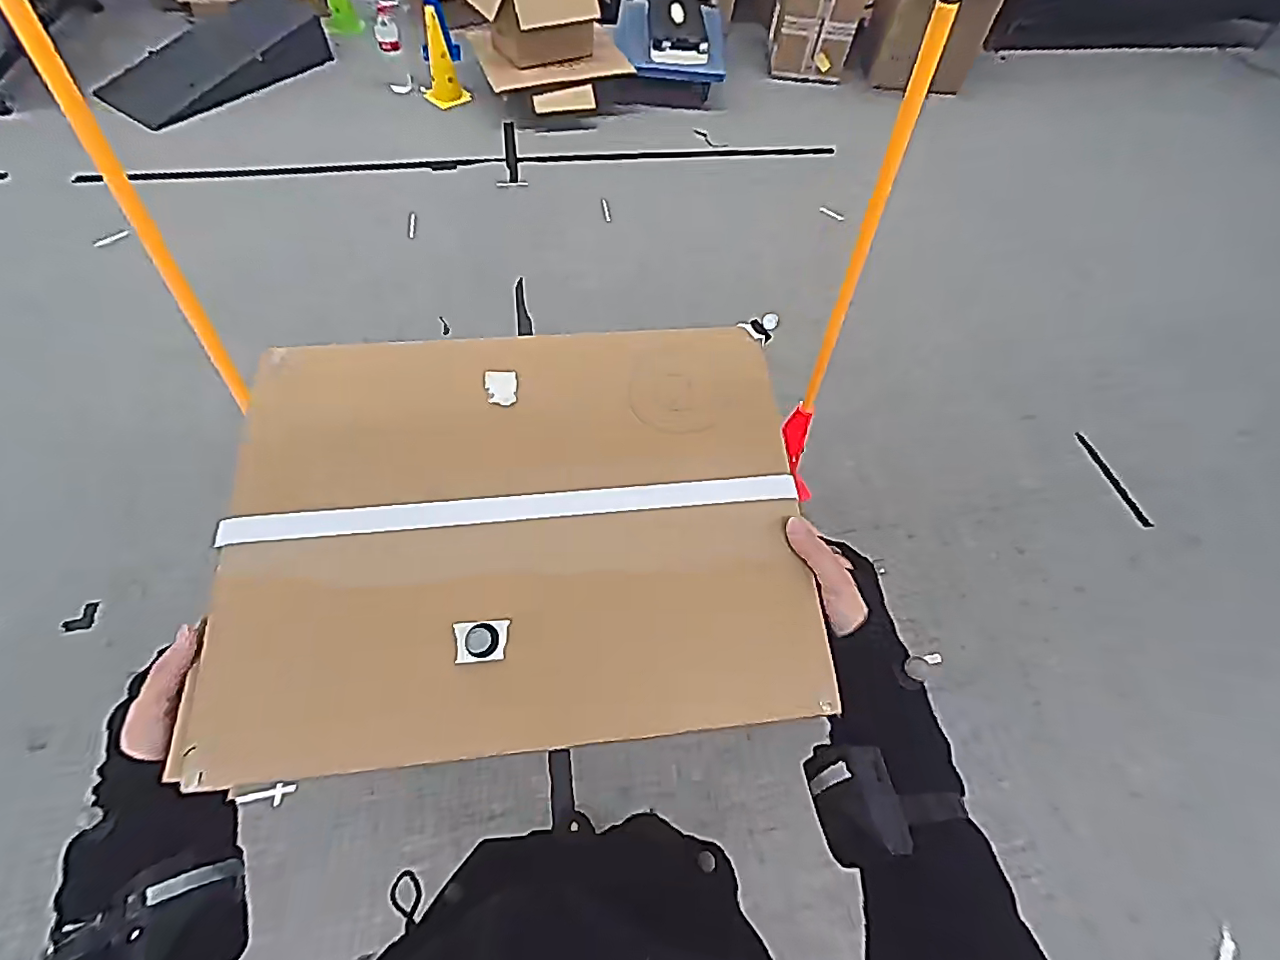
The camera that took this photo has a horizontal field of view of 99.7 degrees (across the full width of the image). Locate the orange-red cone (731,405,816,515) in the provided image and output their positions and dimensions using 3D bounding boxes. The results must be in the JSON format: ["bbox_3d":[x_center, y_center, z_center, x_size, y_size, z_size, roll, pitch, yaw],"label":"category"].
[{"bbox_3d":[0.409,-0.083,1.501,0.199,0.360,0.198,-14,61,-14],"label":"orange-red cone"}]
